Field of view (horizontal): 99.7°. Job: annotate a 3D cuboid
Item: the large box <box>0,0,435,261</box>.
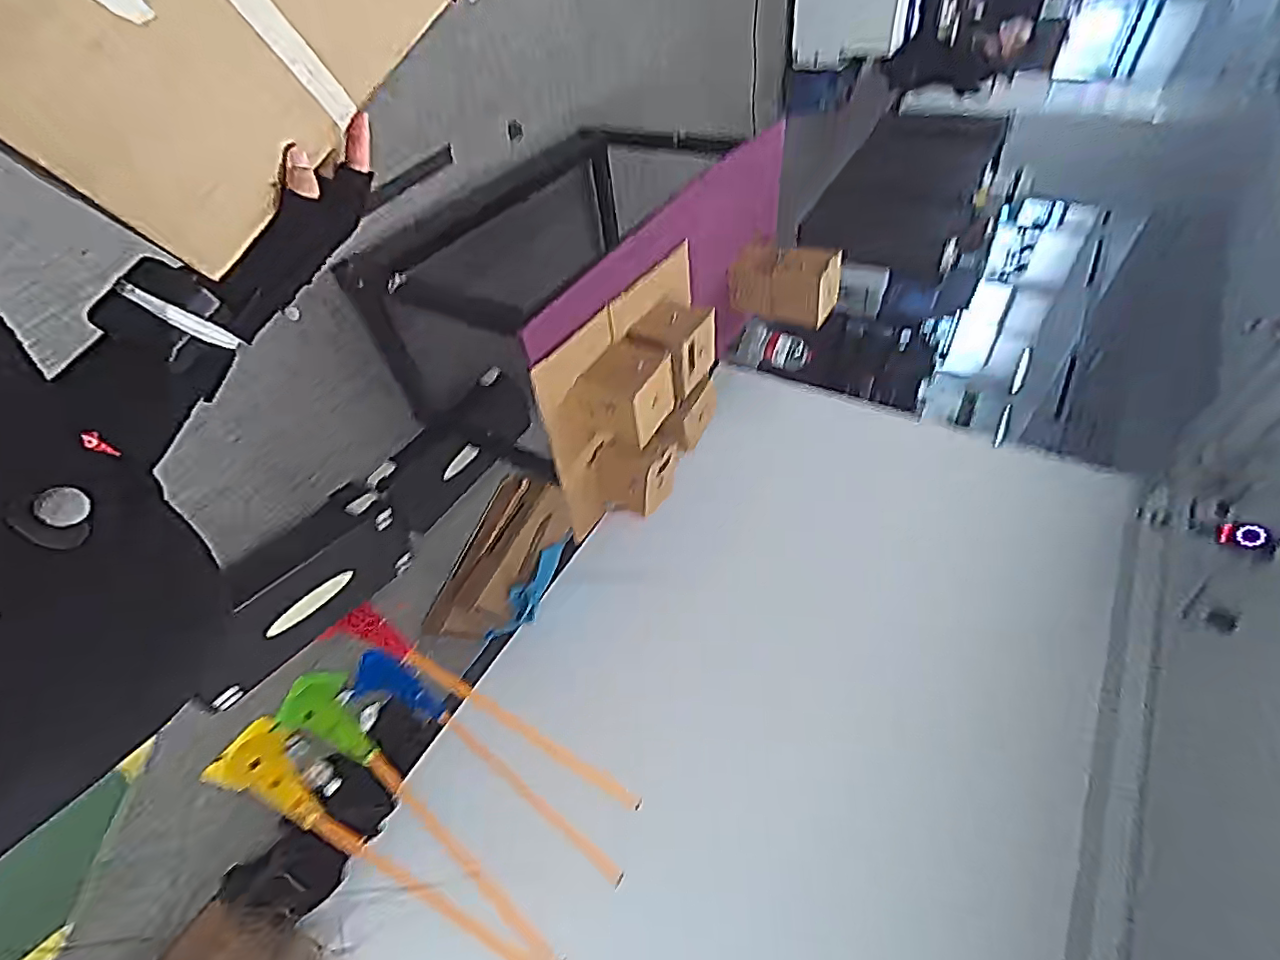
[{"bbox_3d":[-0.408,-0.412,0.307,0.320,0.320,0.408,-57,154,-7],"label":"large box"}]
